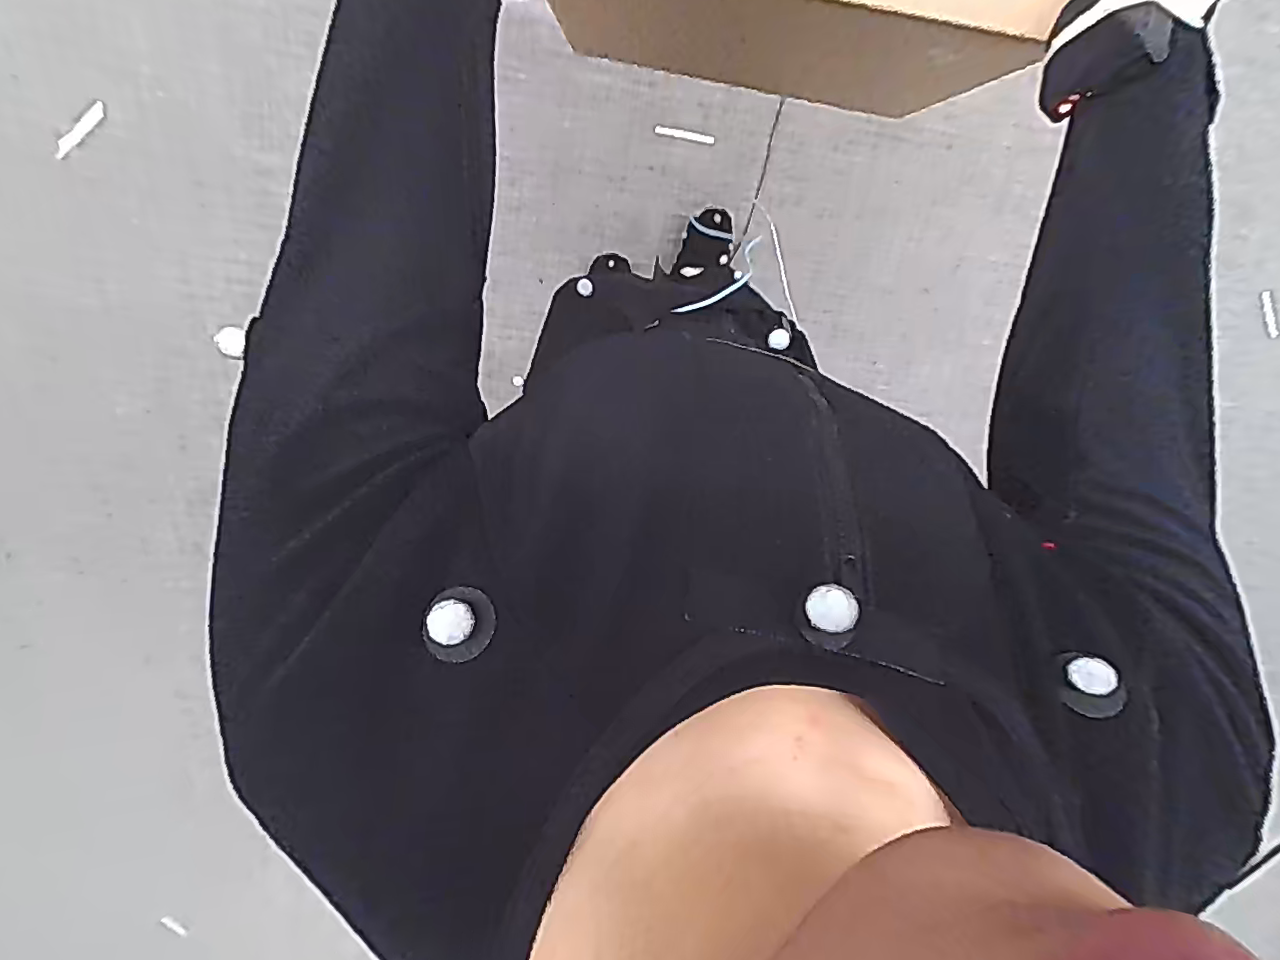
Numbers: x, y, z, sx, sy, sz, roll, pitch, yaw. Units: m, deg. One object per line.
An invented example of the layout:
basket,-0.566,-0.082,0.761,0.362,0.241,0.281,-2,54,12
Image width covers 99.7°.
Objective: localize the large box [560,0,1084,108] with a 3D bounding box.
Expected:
large box,0.141,-0.549,0.449,0.408,0.320,0.320,9,117,-3
